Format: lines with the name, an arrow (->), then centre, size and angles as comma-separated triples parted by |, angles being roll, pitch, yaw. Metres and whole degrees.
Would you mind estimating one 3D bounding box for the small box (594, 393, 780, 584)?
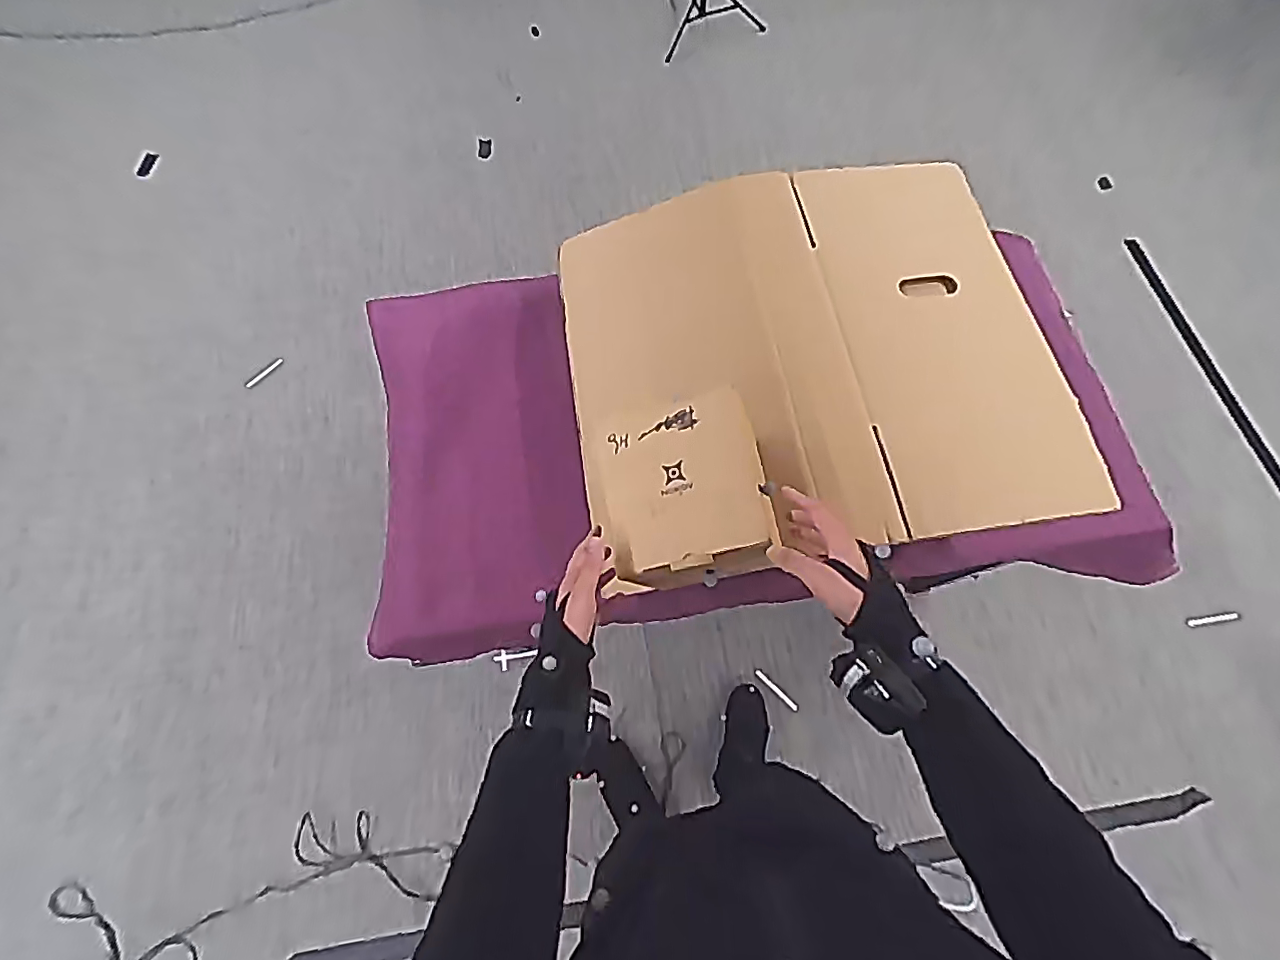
small box -> 0.063, 0.025, 0.647 | 0.168, 0.176, 0.179 | -15, 71, 15
